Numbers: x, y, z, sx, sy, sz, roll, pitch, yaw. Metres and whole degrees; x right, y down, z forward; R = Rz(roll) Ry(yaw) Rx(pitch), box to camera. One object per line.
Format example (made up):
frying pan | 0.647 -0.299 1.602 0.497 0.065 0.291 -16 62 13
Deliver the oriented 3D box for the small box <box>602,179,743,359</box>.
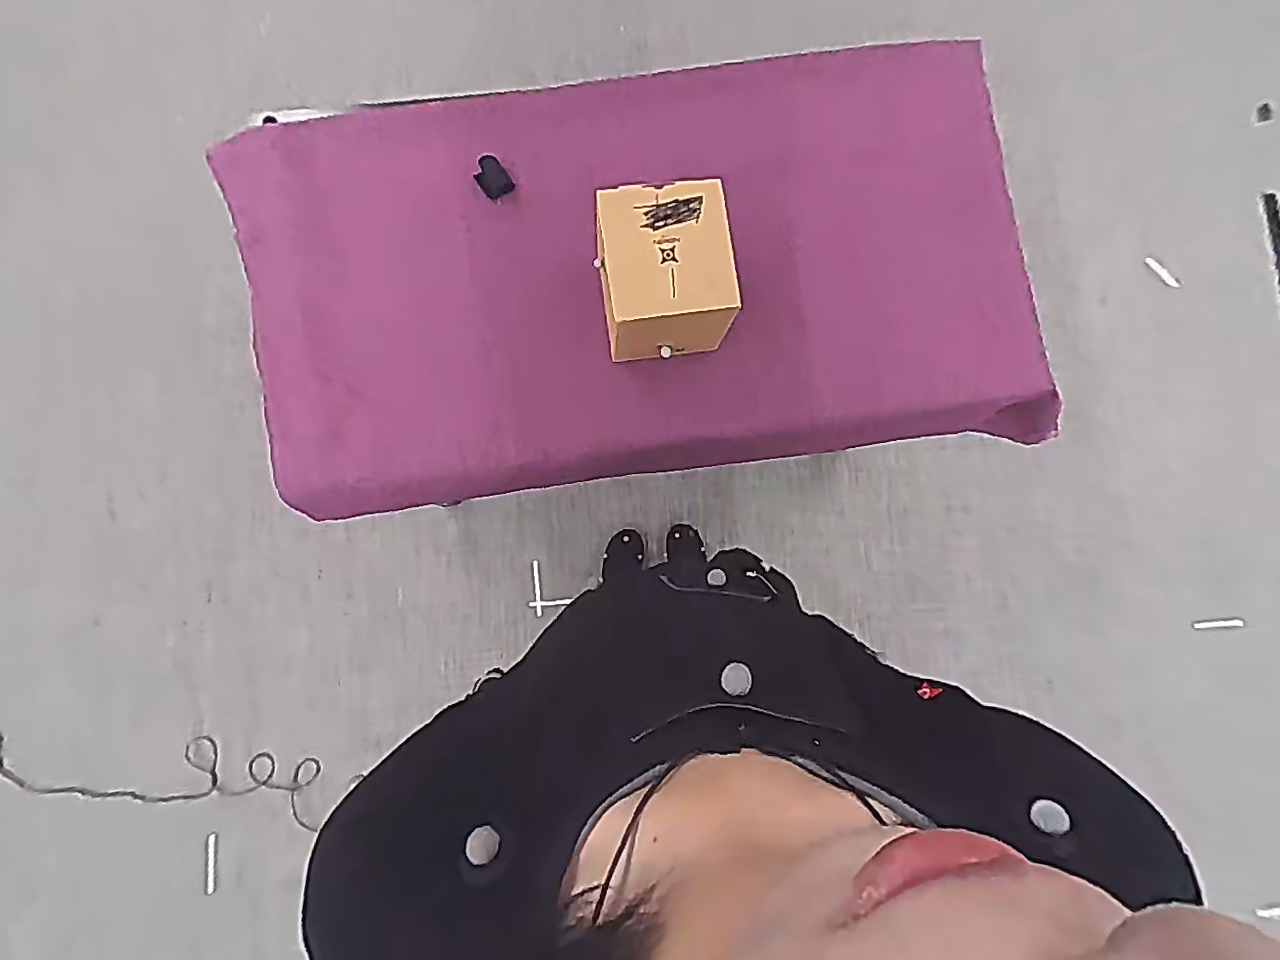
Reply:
small box | 0.035 -0.288 0.766 0.168 0.176 0.179 -8 85 -4
